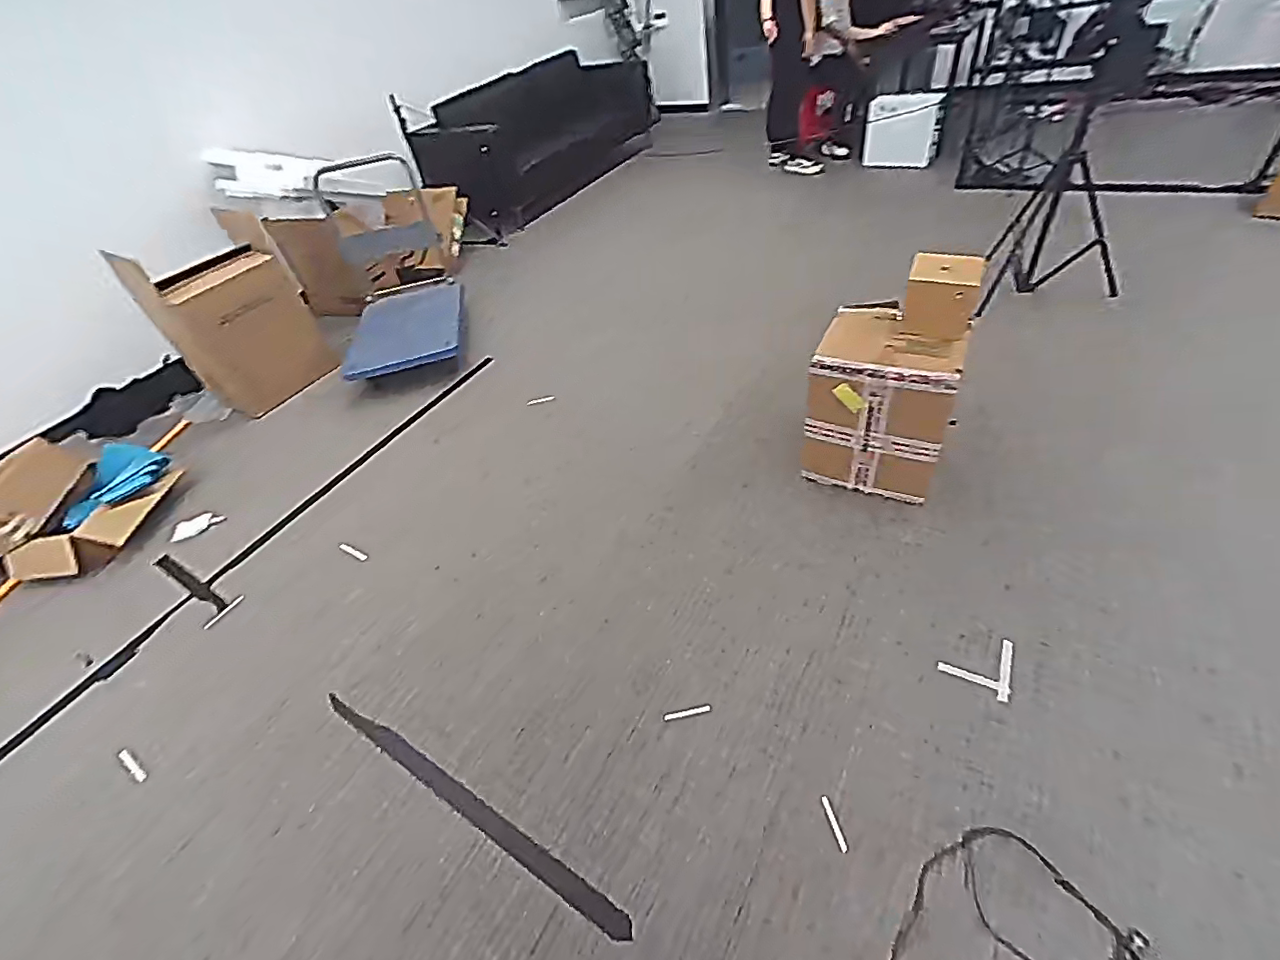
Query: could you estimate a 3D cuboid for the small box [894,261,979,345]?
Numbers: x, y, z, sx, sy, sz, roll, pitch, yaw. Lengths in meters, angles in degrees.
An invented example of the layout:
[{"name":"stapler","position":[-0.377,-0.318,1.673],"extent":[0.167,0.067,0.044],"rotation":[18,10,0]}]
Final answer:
[{"name":"small box","position":[0.849,-0.509,1.557],"extent":[0.179,0.176,0.168],"rotation":[15,51,23]}]
